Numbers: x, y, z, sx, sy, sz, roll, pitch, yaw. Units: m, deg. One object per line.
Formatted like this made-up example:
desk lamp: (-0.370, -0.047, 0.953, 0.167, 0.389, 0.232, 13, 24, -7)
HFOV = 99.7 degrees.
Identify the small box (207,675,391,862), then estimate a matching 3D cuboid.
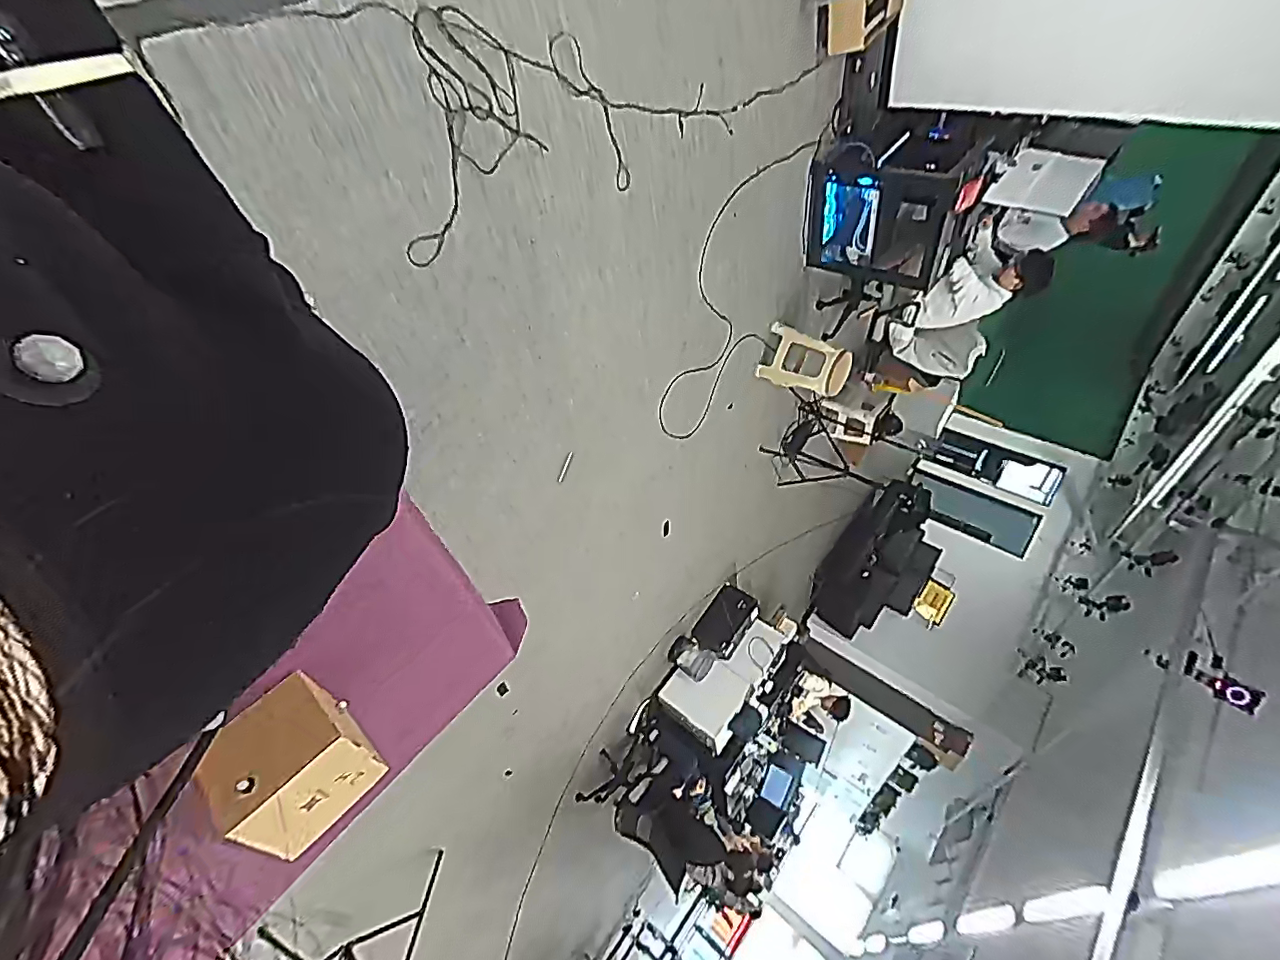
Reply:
small box: (-0.551, 0.458, 0.873, 0.179, 0.176, 0.168, -42, 144, -29)
